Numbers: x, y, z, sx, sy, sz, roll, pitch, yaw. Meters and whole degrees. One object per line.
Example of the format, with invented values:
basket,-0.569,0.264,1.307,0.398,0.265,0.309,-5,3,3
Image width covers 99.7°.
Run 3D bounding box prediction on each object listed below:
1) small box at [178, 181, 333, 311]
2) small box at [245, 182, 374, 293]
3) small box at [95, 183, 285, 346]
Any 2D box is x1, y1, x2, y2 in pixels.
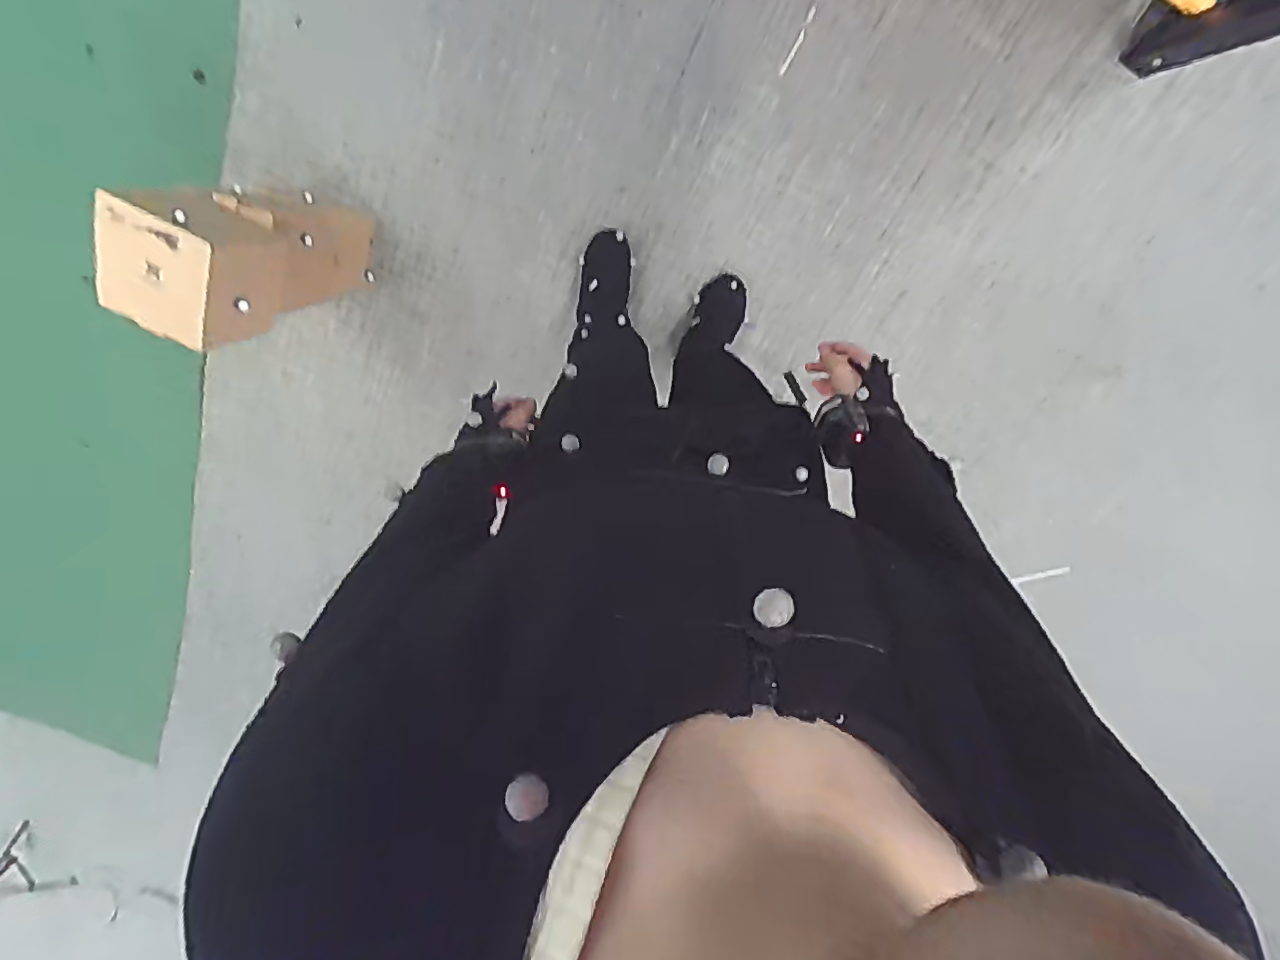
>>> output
small box,-0.699,-0.435,1.005,0.168,0.176,0.179,16,117,-1
small box,-0.691,-0.516,1.146,0.179,0.176,0.168,18,116,-2
small box,-0.708,-0.346,0.865,0.168,0.176,0.179,26,117,-7
